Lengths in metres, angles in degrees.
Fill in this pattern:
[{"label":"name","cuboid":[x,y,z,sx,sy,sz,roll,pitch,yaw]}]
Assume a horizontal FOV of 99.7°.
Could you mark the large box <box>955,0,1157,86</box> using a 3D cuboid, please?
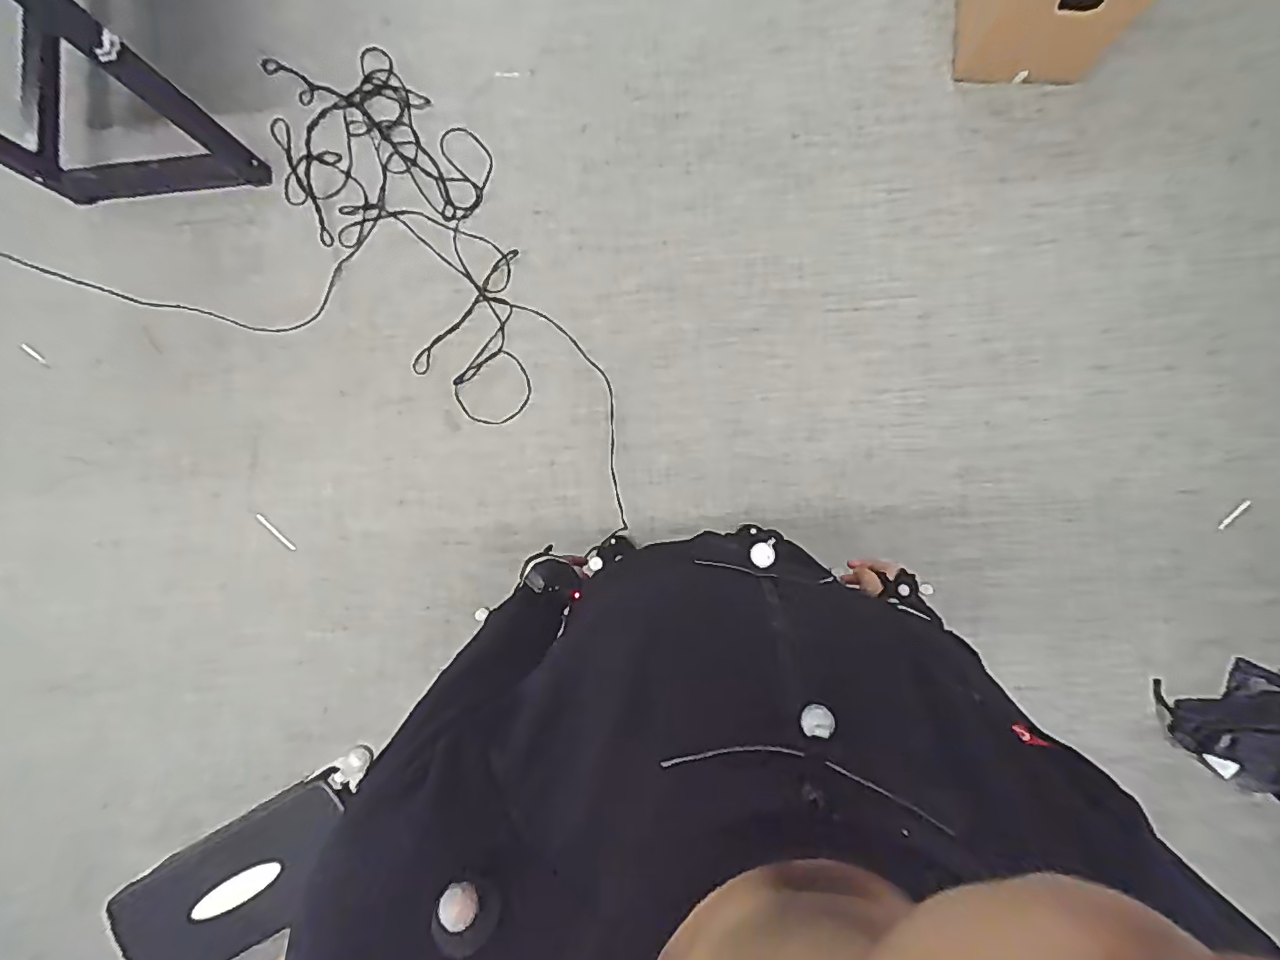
[{"label":"large box","cuboid":[0.967,-1.224,1.256,0.320,0.320,0.408,3,88,4]}]
